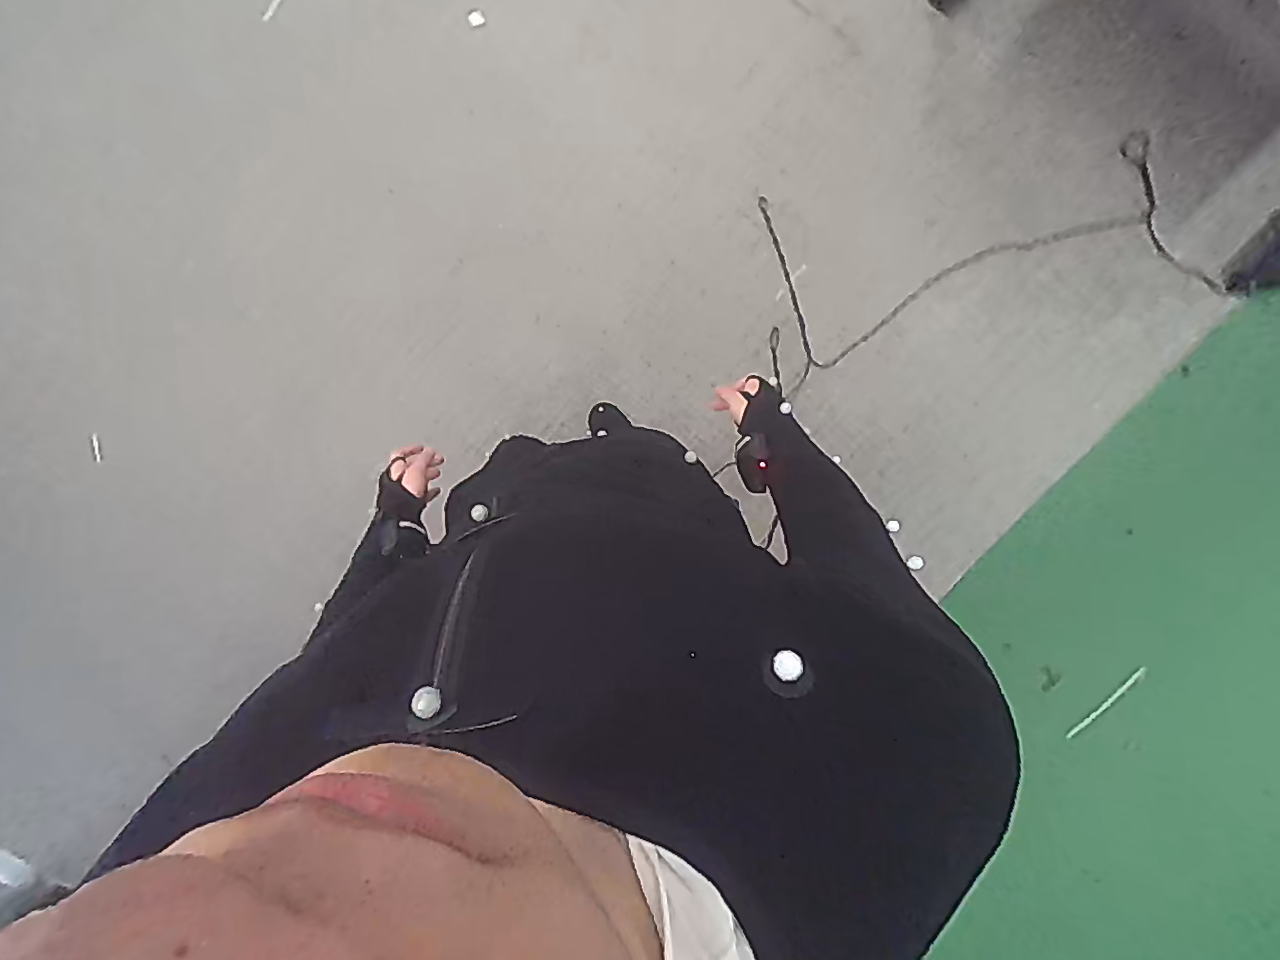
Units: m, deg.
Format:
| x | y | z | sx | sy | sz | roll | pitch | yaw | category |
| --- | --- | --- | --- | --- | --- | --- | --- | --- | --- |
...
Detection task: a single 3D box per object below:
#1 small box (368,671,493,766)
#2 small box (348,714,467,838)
| x | y | z | sx | sy | sz | roll | pitch | yaw | category |
| --- | --- | --- | --- | --- | --- | --- | --- | --- | --- |
| -0.464 | 0.577 | 1.230 | 0.179 | 0.176 | 0.168 | -44 | 96 | 7 | small box |
| -0.468 | 0.605 | 1.067 | 0.179 | 0.176 | 0.168 | -44 | 96 | 8 | small box |
